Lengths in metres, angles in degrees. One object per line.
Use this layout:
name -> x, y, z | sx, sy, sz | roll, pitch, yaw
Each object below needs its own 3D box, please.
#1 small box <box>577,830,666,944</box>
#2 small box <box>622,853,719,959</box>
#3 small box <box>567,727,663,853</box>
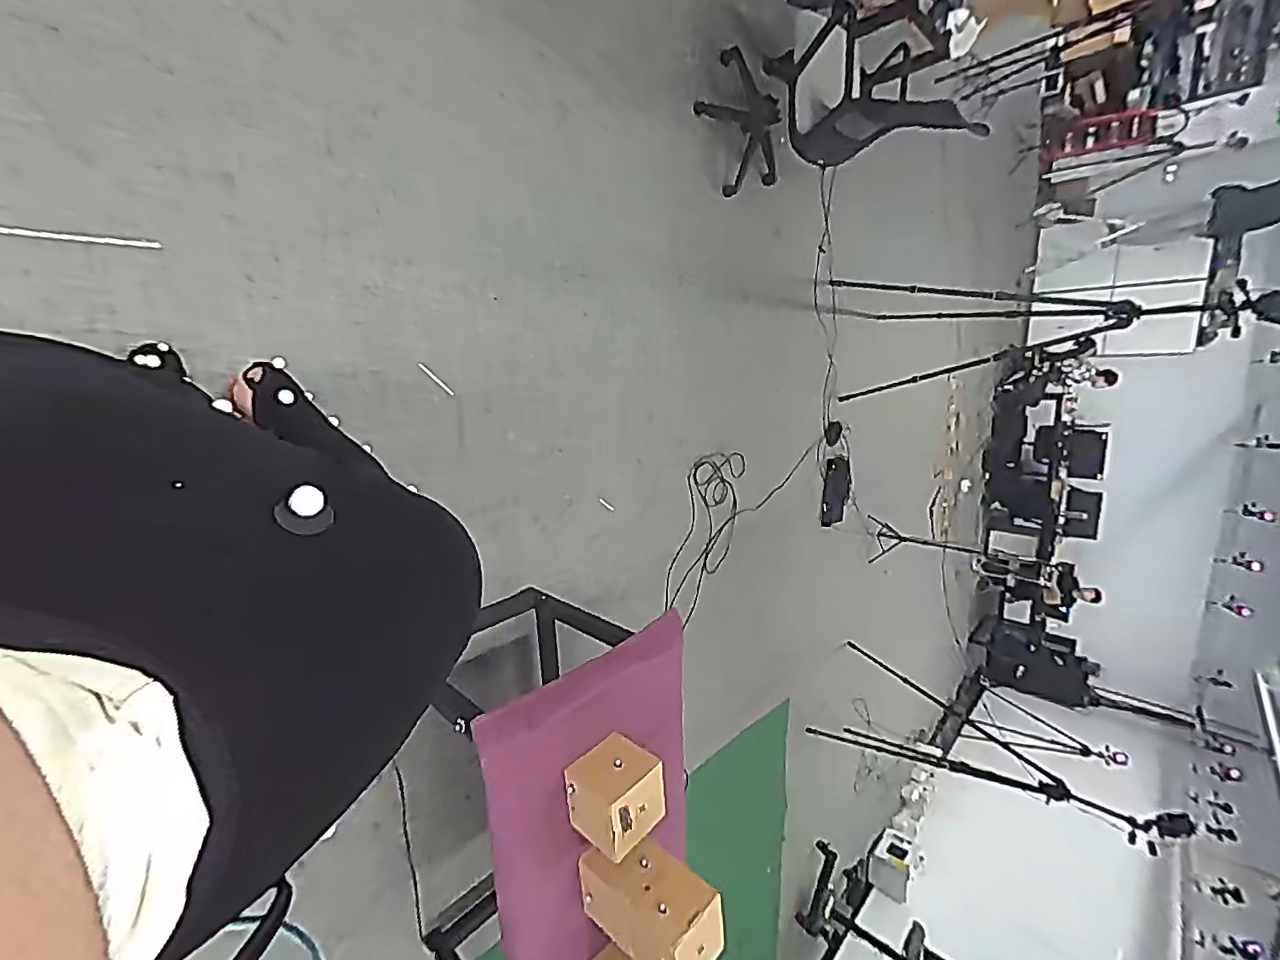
small box -> -0.047, 1.026, 1.410 | 0.168, 0.176, 0.179 | -19, 111, -43
small box -> 0.070, 1.044, 1.297 | 0.168, 0.176, 0.179 | -18, 110, -42
small box -> -0.066, 0.754, 1.336 | 0.179, 0.176, 0.168 | -19, 111, -44
